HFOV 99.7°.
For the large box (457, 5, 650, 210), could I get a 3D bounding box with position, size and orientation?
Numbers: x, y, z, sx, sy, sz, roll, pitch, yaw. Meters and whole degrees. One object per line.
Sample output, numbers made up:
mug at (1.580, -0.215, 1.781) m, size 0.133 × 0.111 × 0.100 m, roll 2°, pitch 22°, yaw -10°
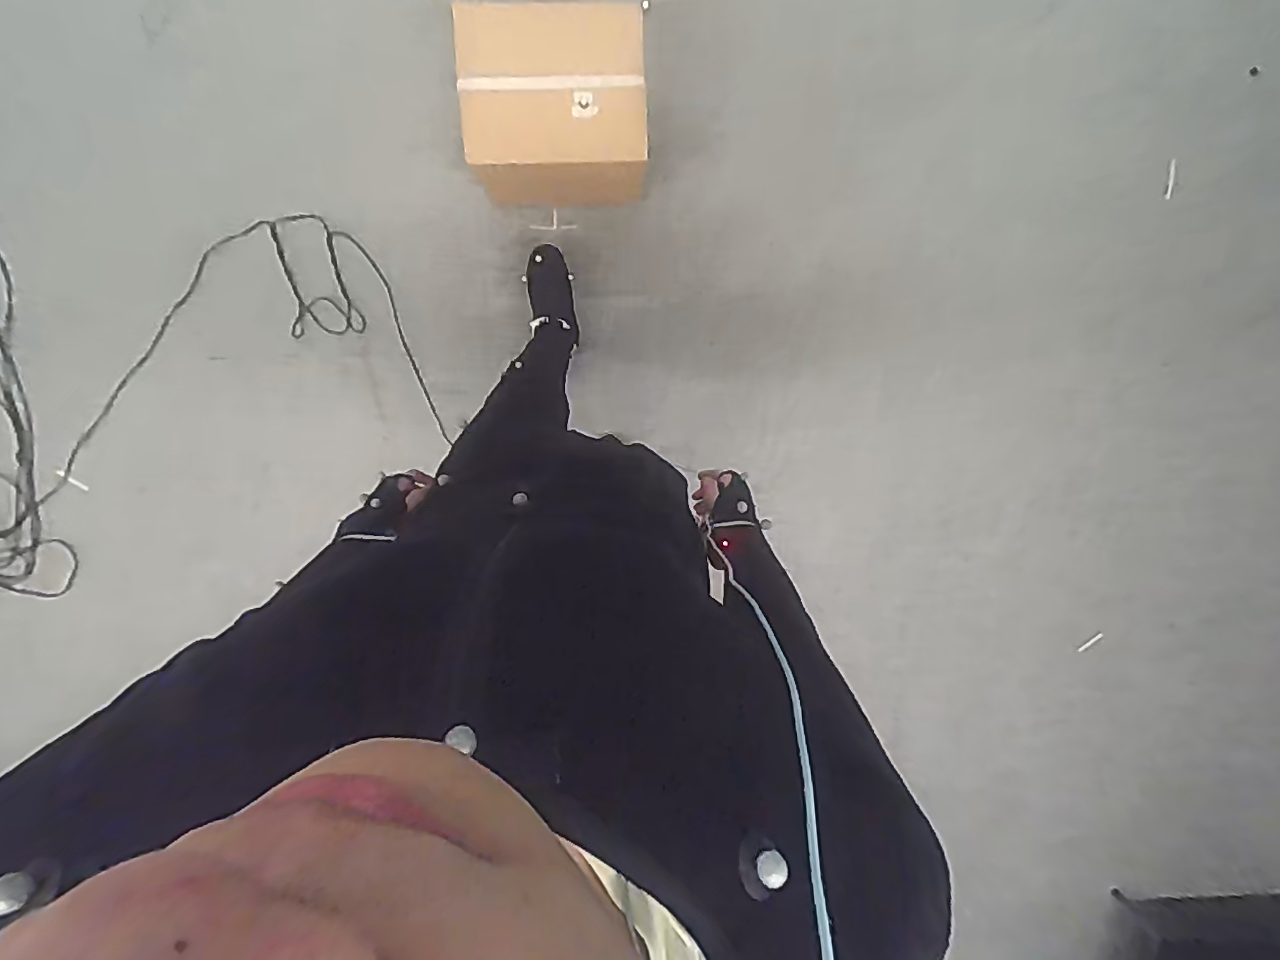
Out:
large box at (-0.193, -0.881, 1.323) m, size 0.408 × 0.320 × 0.320 m, roll -3°, pitch 100°, yaw -3°
